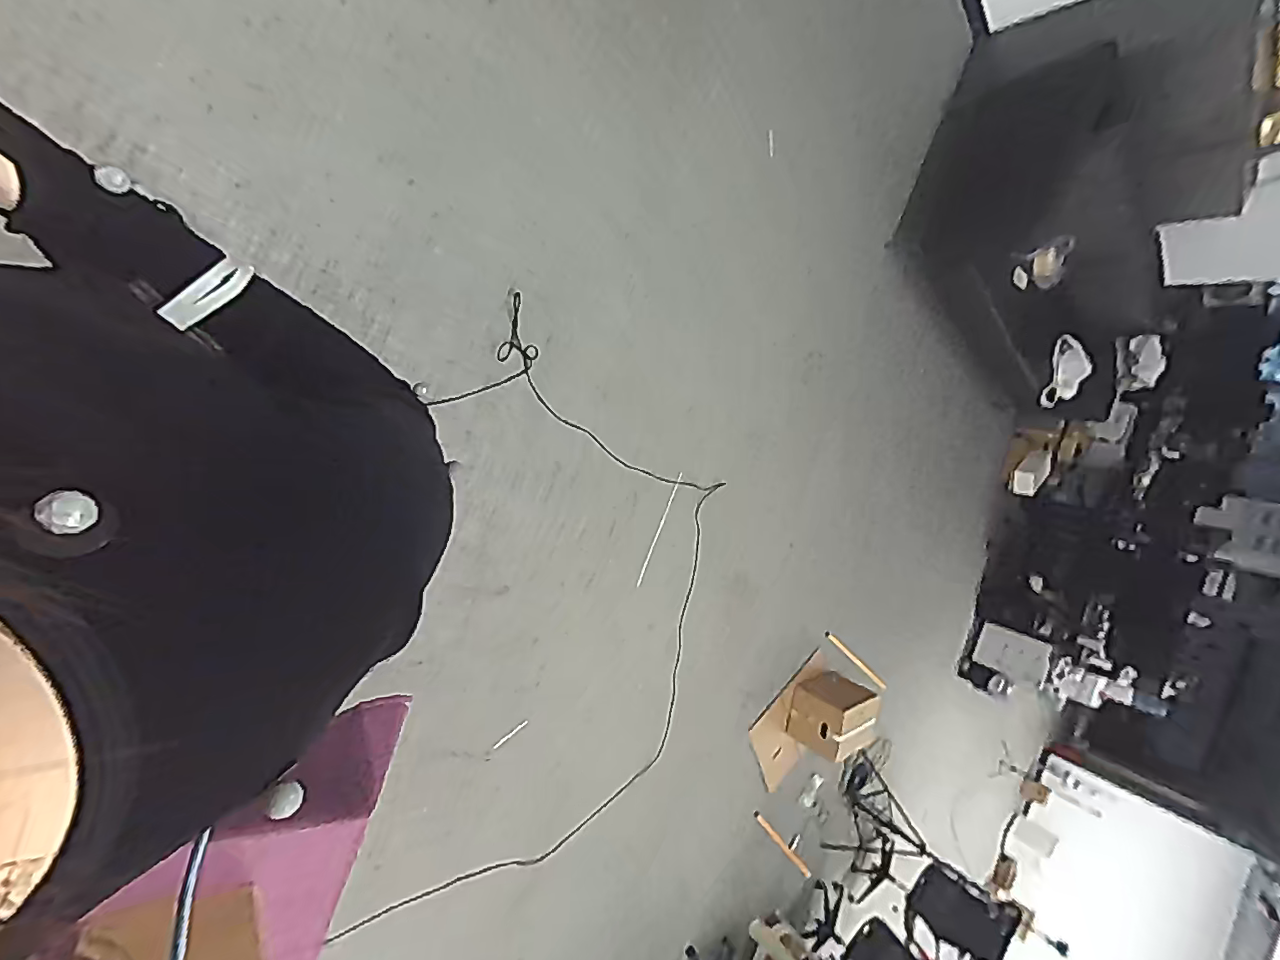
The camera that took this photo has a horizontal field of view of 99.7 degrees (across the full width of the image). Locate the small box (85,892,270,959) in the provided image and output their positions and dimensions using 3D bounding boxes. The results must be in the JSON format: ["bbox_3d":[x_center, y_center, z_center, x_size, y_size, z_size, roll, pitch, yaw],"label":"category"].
[{"bbox_3d":[-0.558,0.638,0.639,0.179,0.176,0.168,18,91,-41],"label":"small box"}]
